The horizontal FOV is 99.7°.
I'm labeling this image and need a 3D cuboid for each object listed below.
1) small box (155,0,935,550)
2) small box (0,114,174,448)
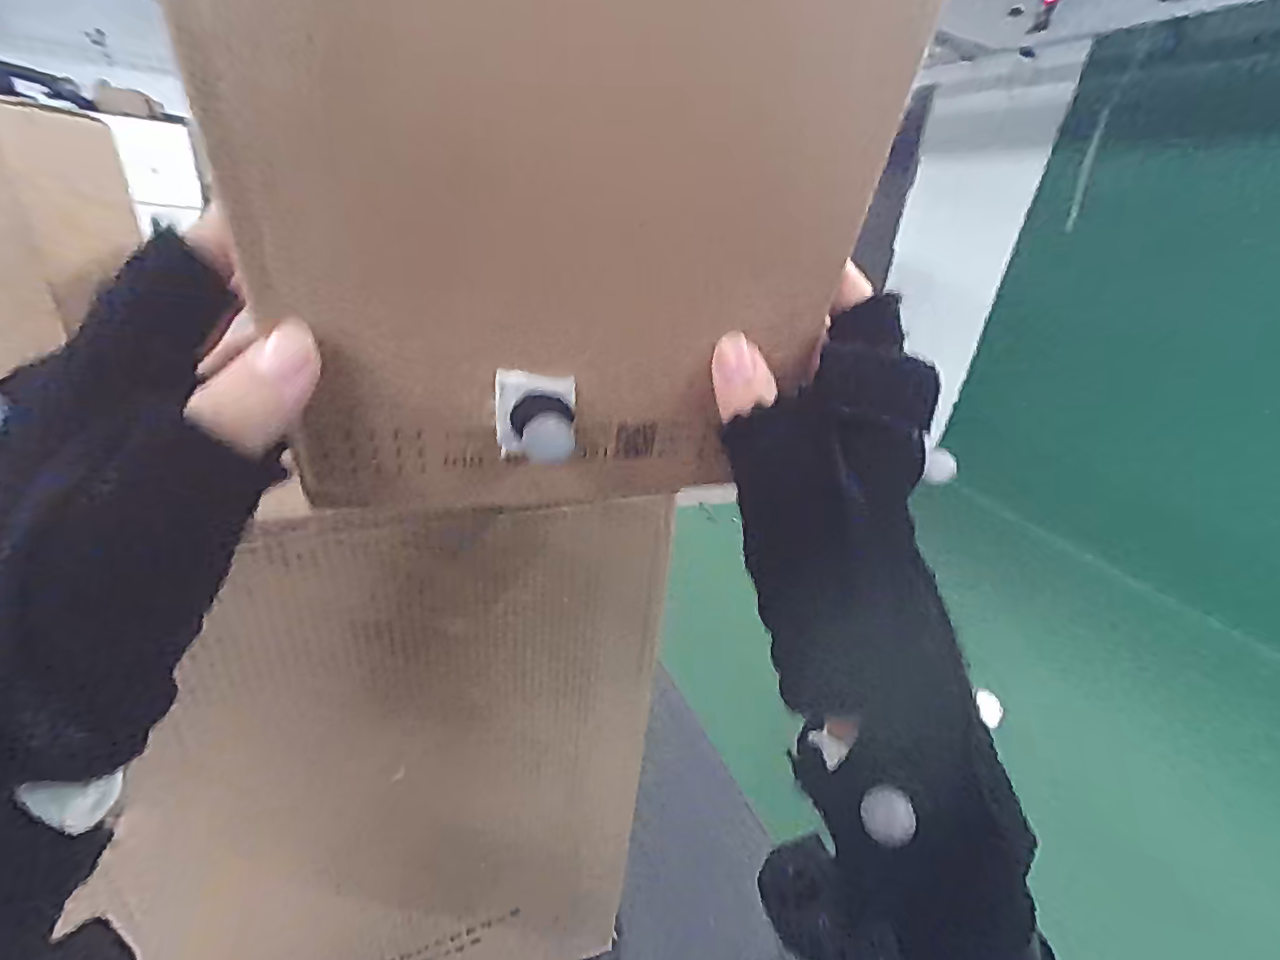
[{"bbox_3d":[-0.042,-0.097,0.210,0.168,0.176,0.179,-6,41,-17],"label":"small box"},{"bbox_3d":[-0.422,-0.122,0.324,0.168,0.176,0.179,-9,30,-23],"label":"small box"}]
